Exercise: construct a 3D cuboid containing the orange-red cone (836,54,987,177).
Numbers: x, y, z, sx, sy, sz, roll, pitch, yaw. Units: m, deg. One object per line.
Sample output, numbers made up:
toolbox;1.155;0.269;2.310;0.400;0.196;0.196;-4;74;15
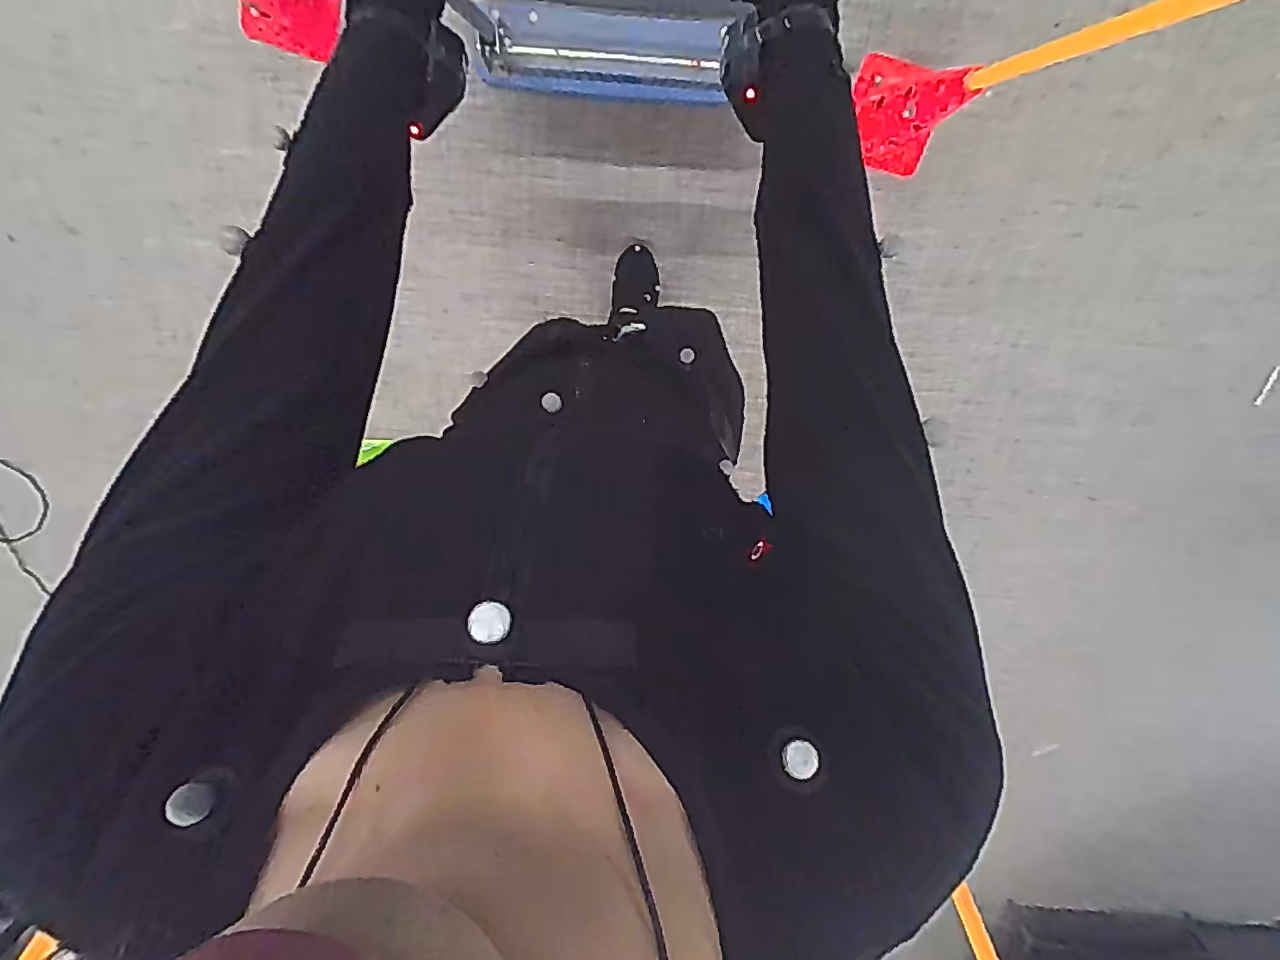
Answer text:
orange-red cone;0.546;-0.718;1.027;0.198;0.360;0.199;14;116;-5
